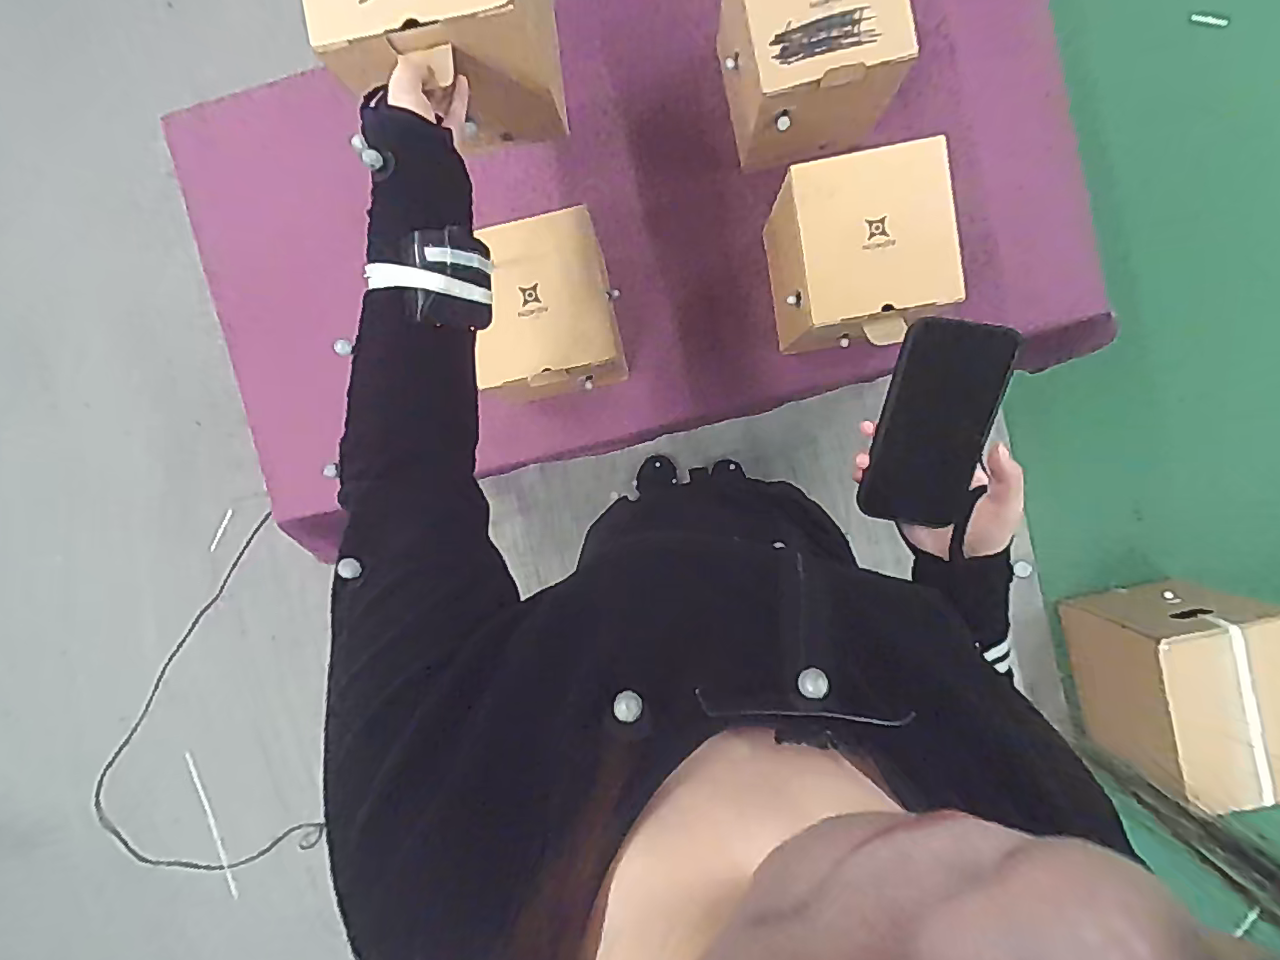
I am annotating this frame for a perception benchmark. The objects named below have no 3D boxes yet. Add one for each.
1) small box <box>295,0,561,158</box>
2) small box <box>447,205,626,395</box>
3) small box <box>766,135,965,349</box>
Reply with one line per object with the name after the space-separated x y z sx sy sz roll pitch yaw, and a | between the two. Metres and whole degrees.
-0.175 -0.425 0.477 0.168 0.176 0.179 -6 93 7 | small box
-0.117 -0.209 0.683 0.168 0.176 0.179 -11 92 3 | small box
0.257 -0.272 0.656 0.168 0.176 0.179 -9 94 4 | small box
